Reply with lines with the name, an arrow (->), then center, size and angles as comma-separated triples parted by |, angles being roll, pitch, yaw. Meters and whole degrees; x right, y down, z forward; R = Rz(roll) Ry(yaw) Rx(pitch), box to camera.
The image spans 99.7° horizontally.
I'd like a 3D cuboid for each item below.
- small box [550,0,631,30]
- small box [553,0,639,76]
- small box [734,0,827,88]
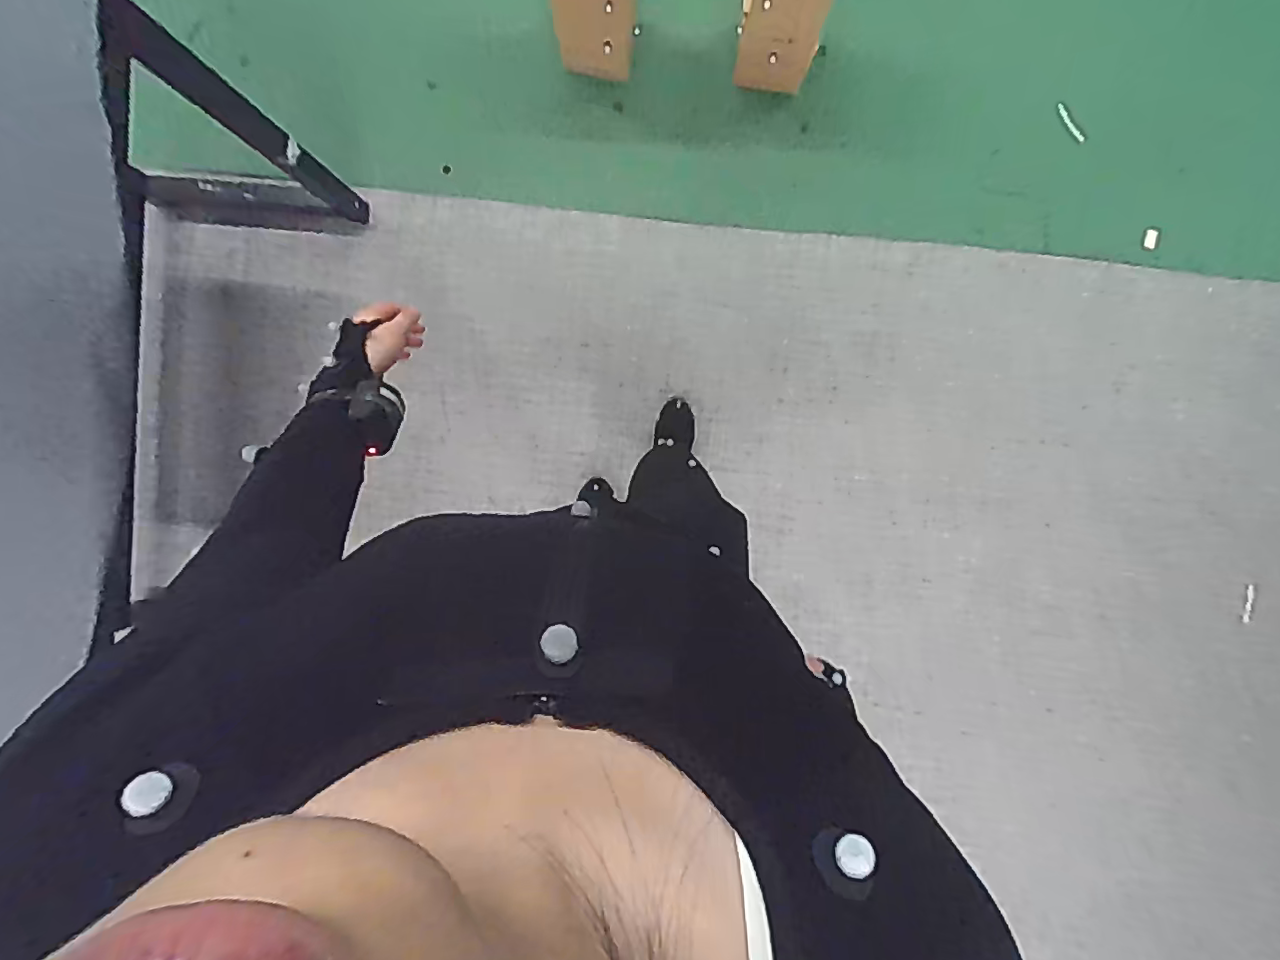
small box -> -0.104, -1.114, 1.161 | 0.179, 0.176, 0.168 | 3, 93, 1
small box -> -0.100, -1.136, 1.322 | 0.179, 0.176, 0.168 | 11, 94, 0
small box -> 0.341, -1.103, 1.324 | 0.179, 0.176, 0.168 | 10, 94, 0
